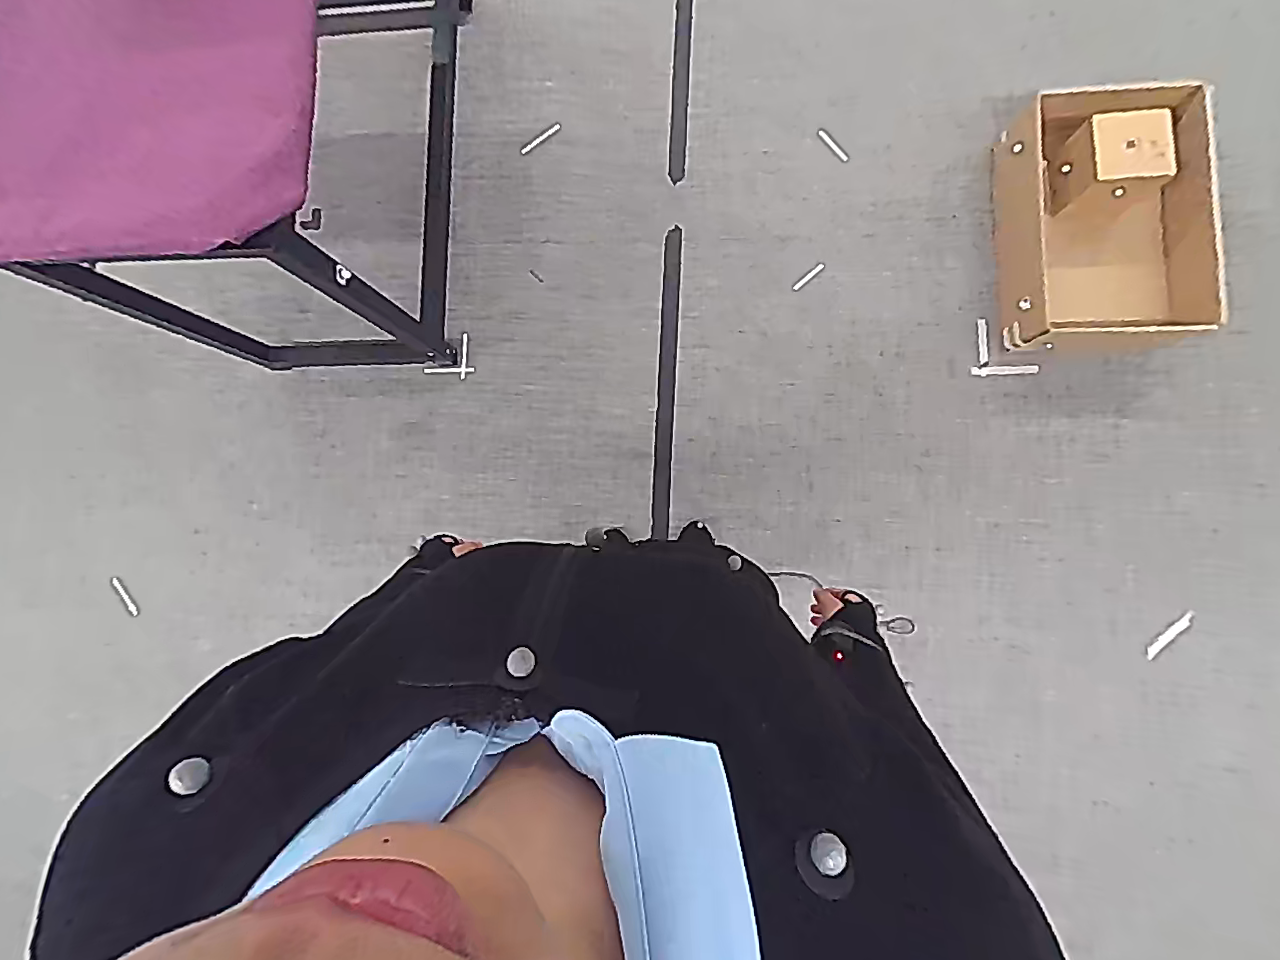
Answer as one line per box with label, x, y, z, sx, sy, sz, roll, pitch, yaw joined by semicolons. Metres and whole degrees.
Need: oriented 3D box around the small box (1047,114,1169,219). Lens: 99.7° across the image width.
small box;1.168;-0.782;1.366;0.179;0.176;0.168;-1;86;5
